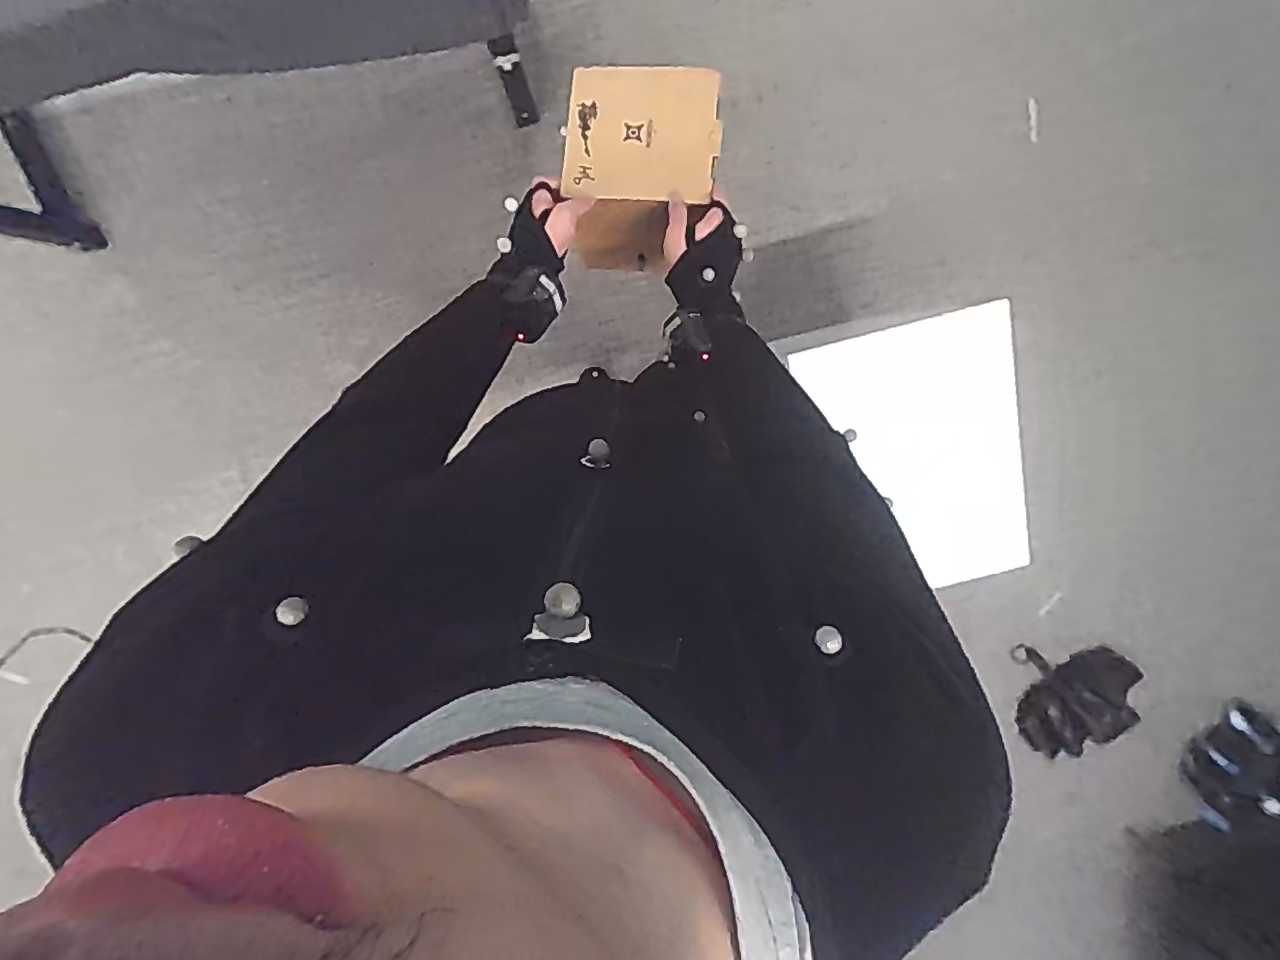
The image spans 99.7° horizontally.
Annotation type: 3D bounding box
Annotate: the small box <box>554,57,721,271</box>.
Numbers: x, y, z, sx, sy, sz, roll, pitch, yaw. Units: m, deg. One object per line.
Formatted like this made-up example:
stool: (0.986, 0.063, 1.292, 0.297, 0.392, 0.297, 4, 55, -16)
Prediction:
small box: (-0.001, -0.383, 0.684, 0.179, 0.176, 0.168, 5, 84, 2)
